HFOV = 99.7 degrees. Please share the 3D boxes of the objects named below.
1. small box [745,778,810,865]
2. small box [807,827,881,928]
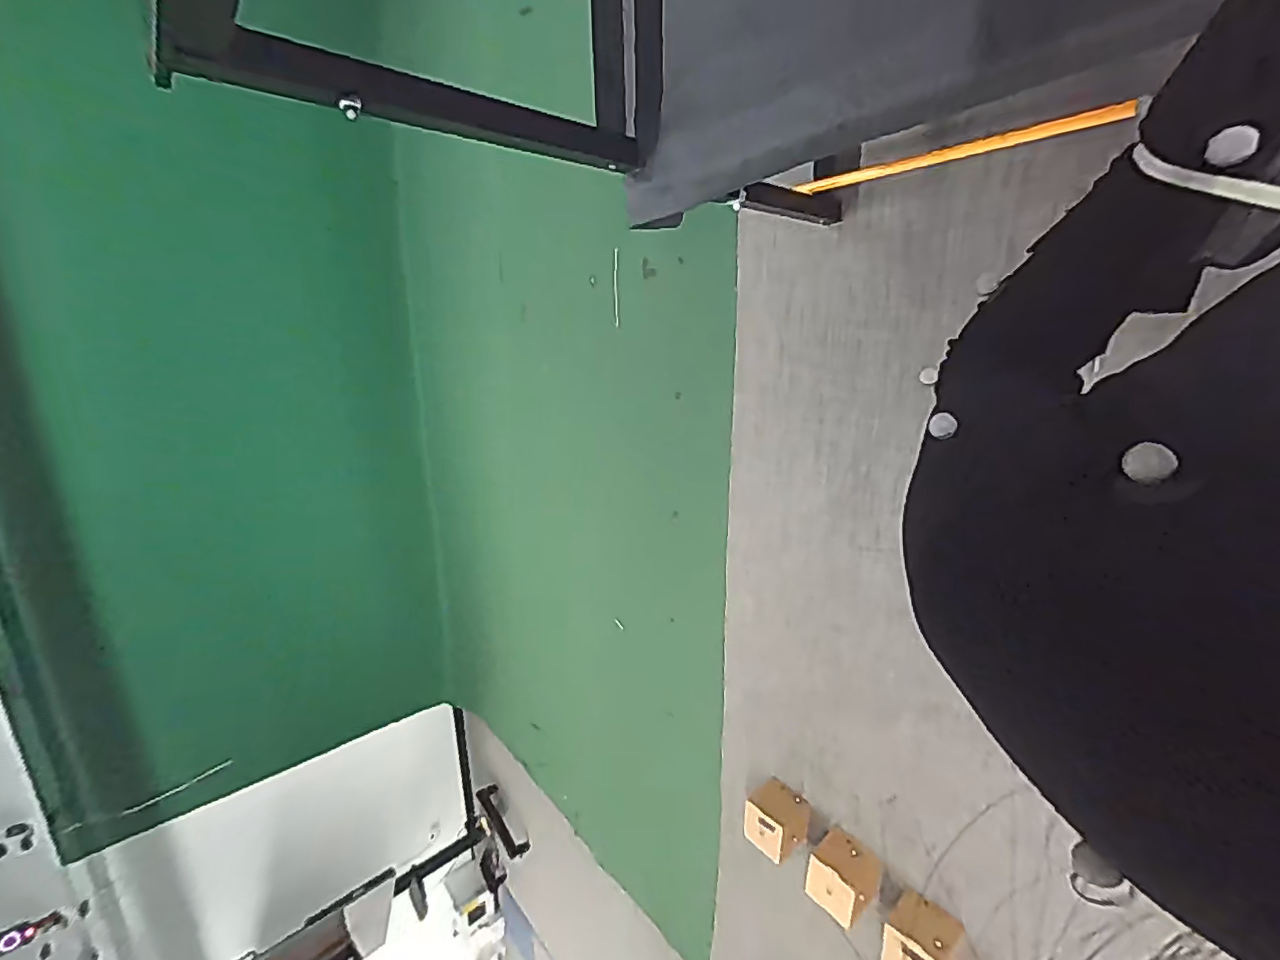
[{"bbox_3d":[0.513,1.260,2.012,0.168,0.176,0.179,19,114,47],"label":"small box"},{"bbox_3d":[0.688,1.330,1.820,0.168,0.176,0.179,19,114,47],"label":"small box"}]
